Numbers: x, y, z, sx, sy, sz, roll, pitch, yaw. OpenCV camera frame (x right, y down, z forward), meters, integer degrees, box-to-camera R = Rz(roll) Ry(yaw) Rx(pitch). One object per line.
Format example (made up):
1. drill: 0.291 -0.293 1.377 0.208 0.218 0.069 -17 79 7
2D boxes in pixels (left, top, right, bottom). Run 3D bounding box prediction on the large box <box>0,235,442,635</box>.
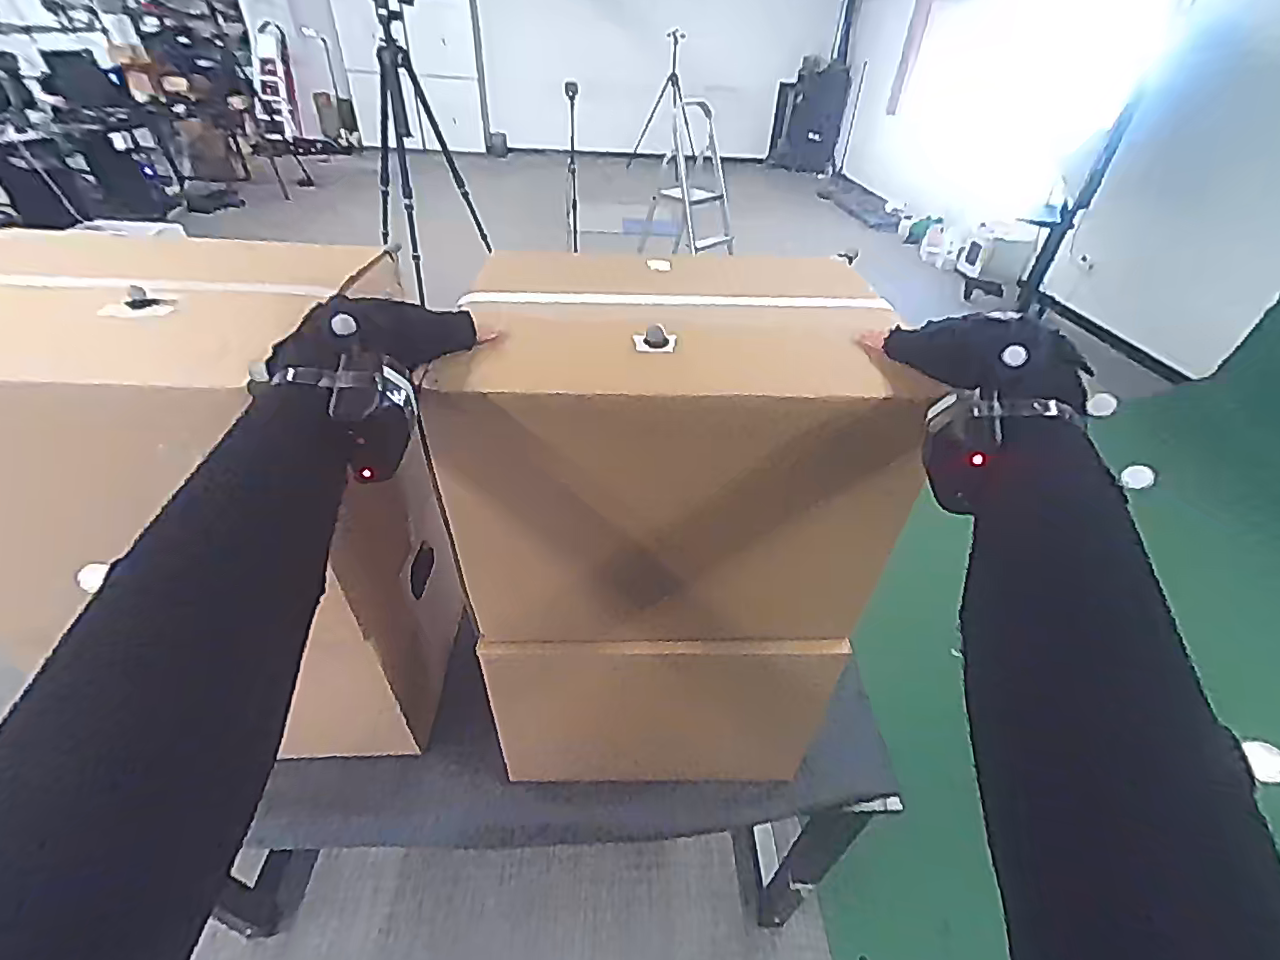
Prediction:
1. large box: -0.474 -0.049 0.583 0.408 0.320 0.320 2 40 -4
